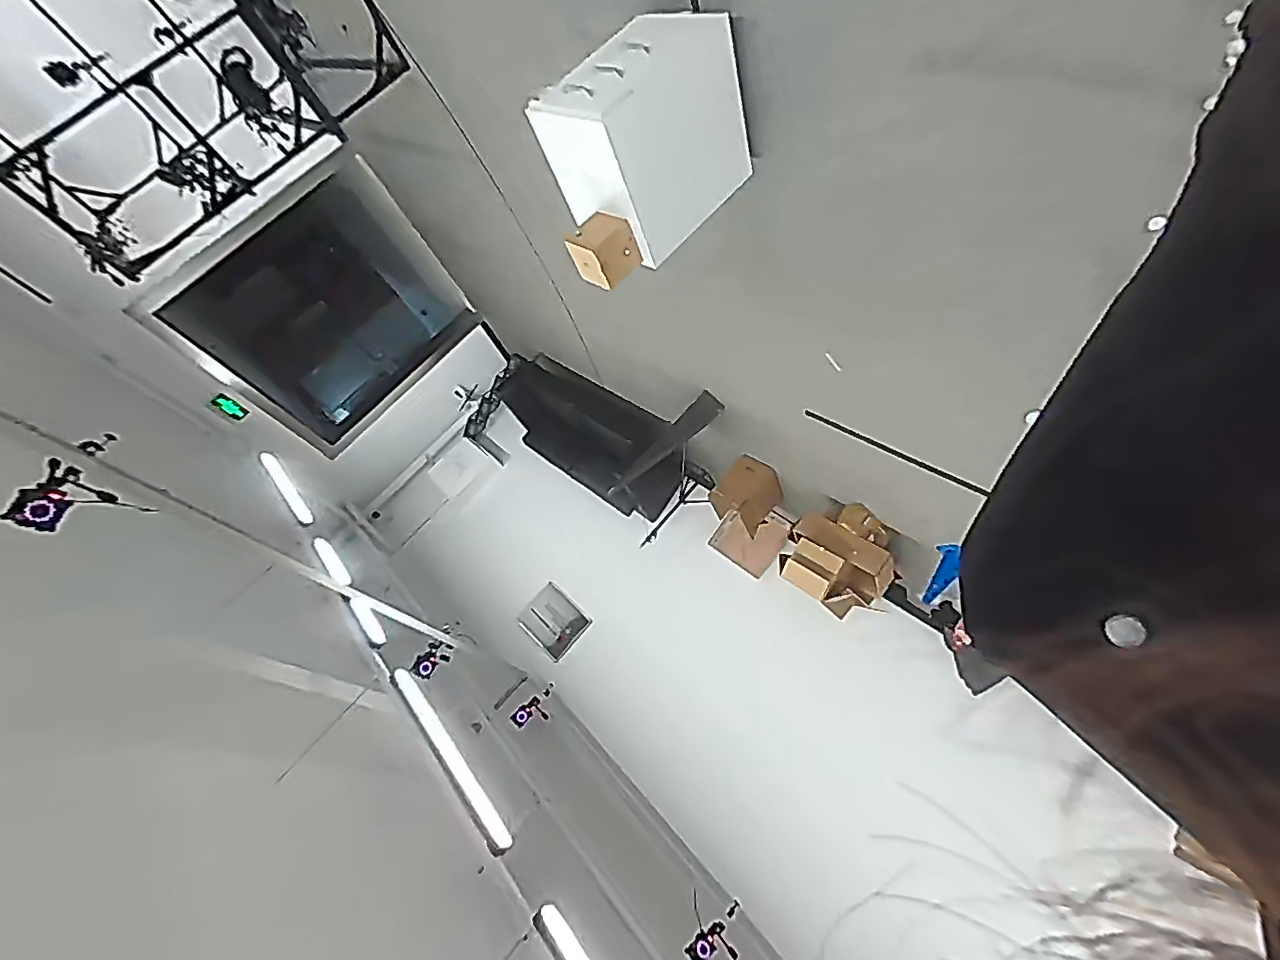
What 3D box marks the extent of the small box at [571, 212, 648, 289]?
[{"bbox_3d":[-0.103,-0.809,1.897,0.179,0.176,0.168,36,168,36],"label":"small box"}]
